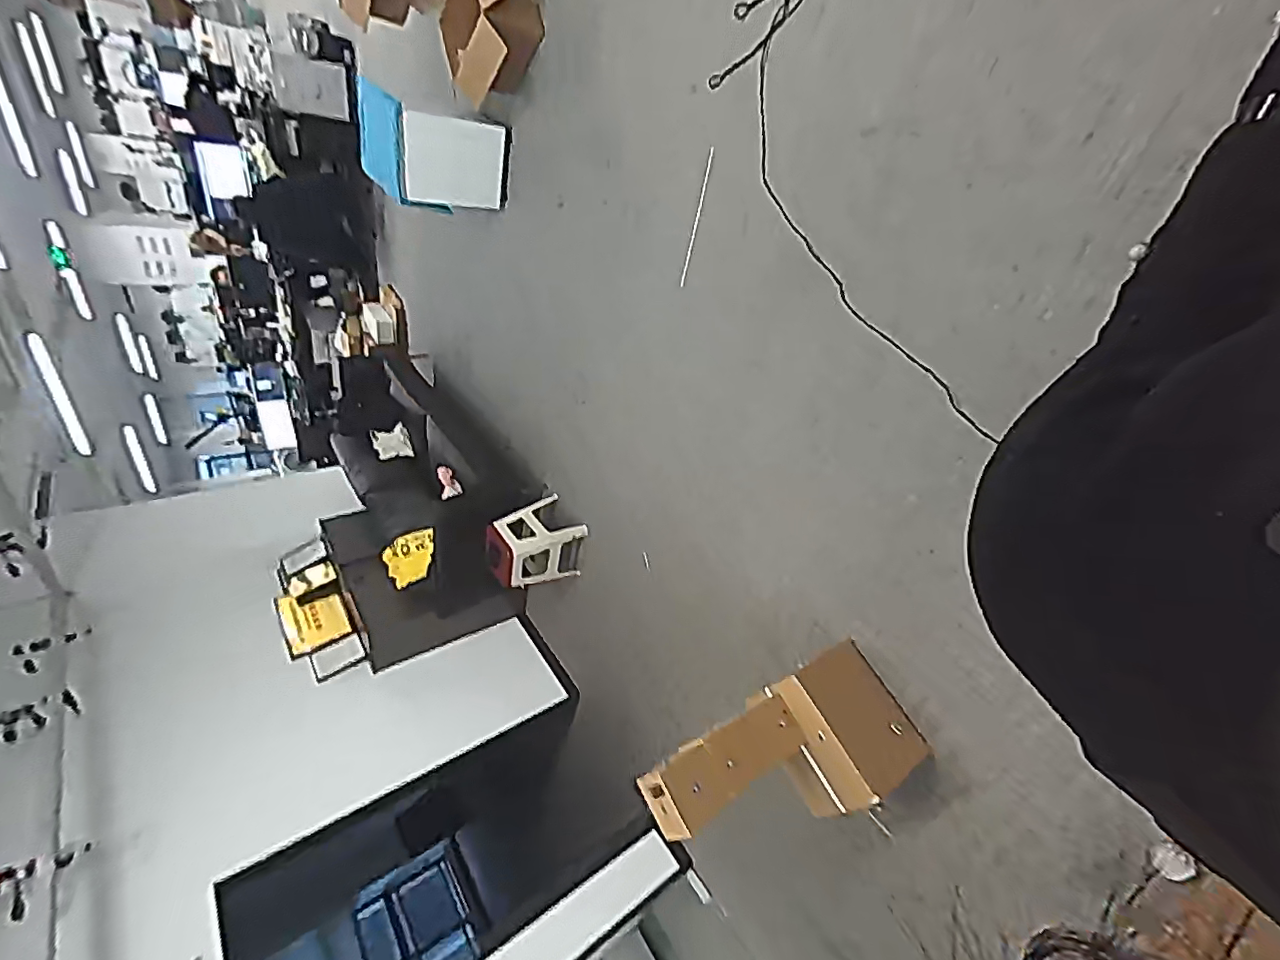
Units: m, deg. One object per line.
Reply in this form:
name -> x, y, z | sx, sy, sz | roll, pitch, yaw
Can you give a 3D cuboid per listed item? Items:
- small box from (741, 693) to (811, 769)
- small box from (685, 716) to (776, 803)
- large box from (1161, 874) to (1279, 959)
small box -> 0.409, 0.812, 1.730 | 0.168, 0.176, 0.179 | 58, 142, 22
small box -> 0.276, 0.842, 1.642 | 0.179, 0.176, 0.168 | 58, 143, 21
large box -> 1.307, 1.112, 1.048 | 0.408, 0.320, 0.320 | 28, 125, 44
